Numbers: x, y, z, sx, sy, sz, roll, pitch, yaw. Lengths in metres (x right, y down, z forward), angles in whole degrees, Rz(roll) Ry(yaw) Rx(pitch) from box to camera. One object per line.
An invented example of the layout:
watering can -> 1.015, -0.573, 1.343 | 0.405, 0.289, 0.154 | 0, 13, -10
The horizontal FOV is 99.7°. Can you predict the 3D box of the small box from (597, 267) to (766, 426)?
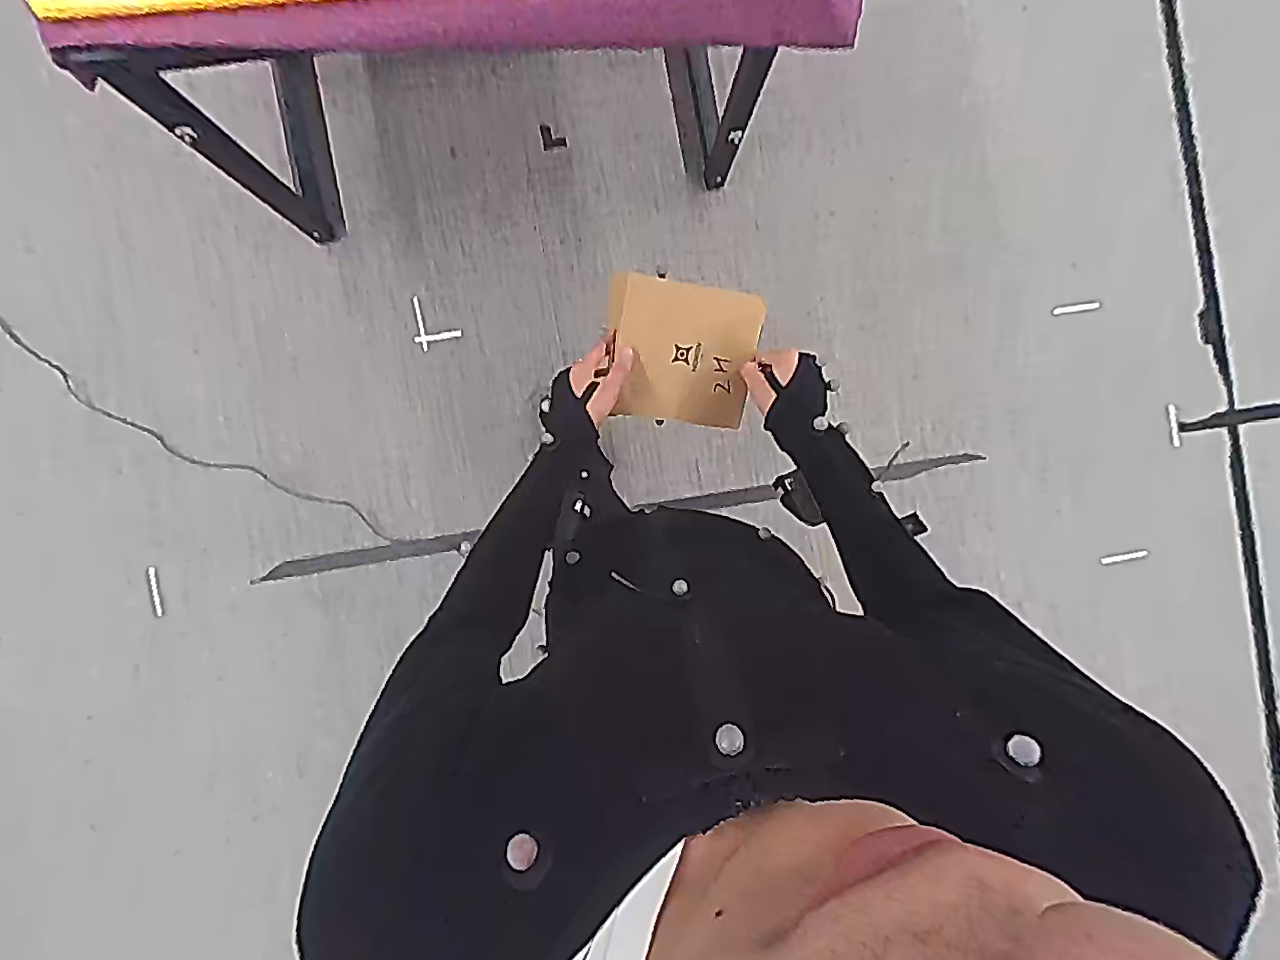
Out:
small box -> 0.041, -0.180, 0.726 | 0.179, 0.176, 0.168 | 6, 108, -12
